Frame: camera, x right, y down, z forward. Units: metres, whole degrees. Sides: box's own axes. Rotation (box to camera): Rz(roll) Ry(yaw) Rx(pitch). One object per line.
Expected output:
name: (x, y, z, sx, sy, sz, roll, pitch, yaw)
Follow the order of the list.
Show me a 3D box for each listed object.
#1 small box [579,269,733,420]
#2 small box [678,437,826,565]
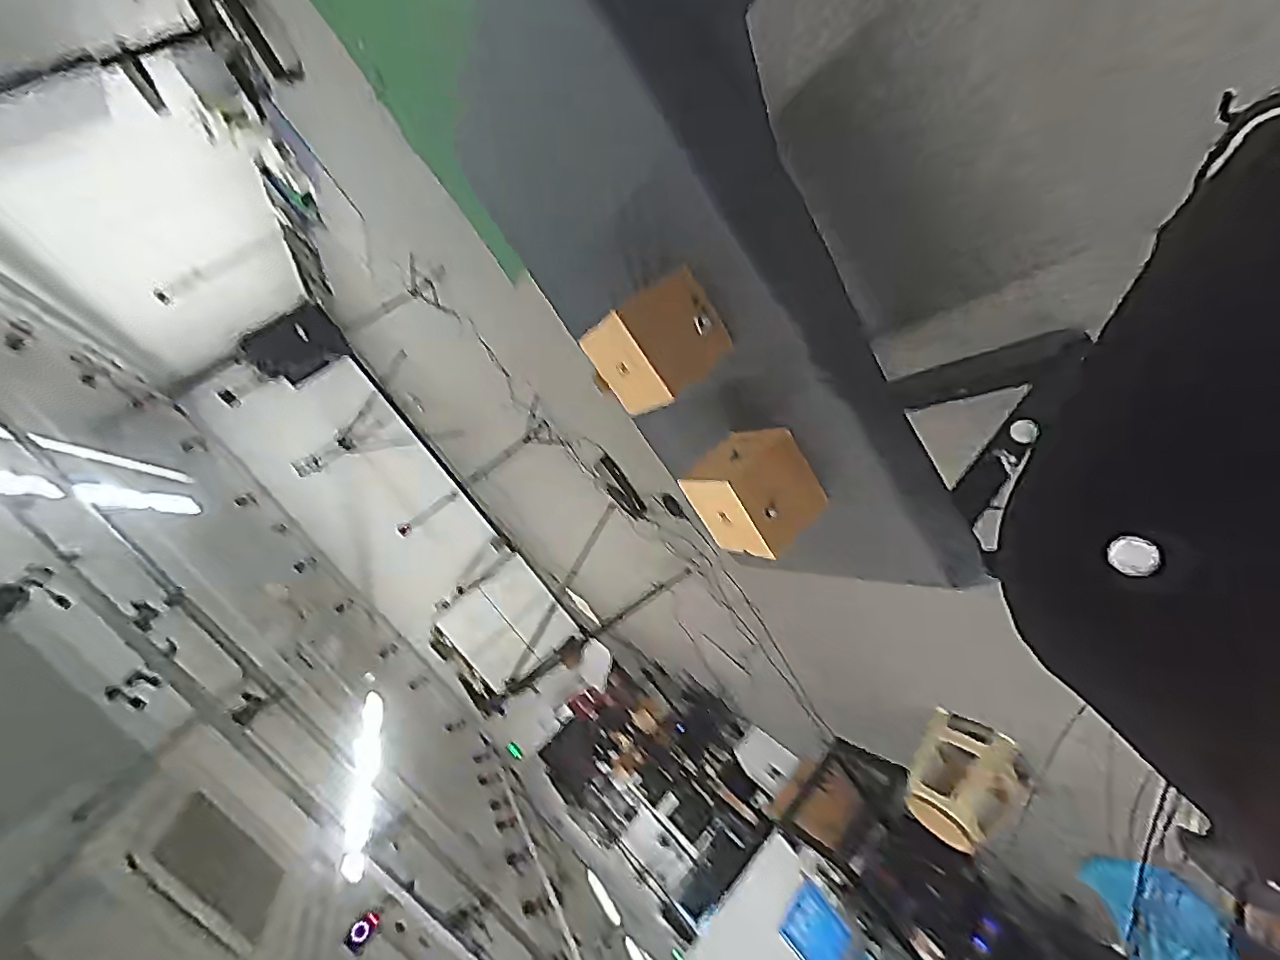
small box: (0.028, -0.230, 0.940, 0.168, 0.176, 0.179, 53, 157, -13)
small box: (0.211, 0.031, 1.015, 0.179, 0.176, 0.168, 56, 156, -16)
